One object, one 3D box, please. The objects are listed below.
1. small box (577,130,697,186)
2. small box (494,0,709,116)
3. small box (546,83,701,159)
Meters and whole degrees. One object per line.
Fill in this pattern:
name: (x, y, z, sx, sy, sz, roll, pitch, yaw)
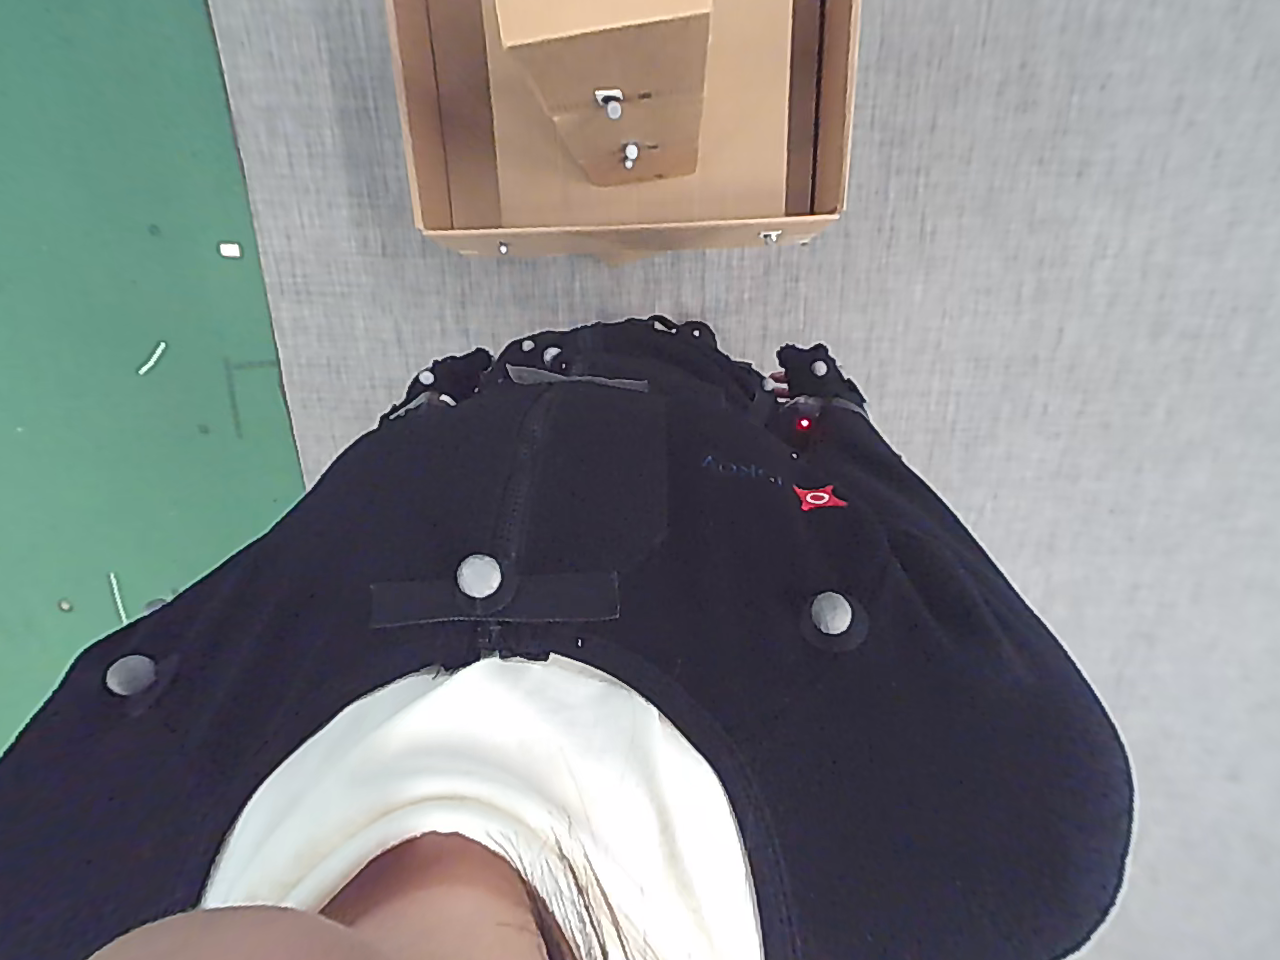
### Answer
small box: (-0.008, -0.549, 0.778, 0.168, 0.176, 0.179, -5, 105, 7)
small box: (-0.031, -0.453, 0.469, 0.168, 0.176, 0.179, -5, 107, 7)
small box: (-0.021, -0.499, 0.623, 0.168, 0.176, 0.179, -5, 106, 5)
